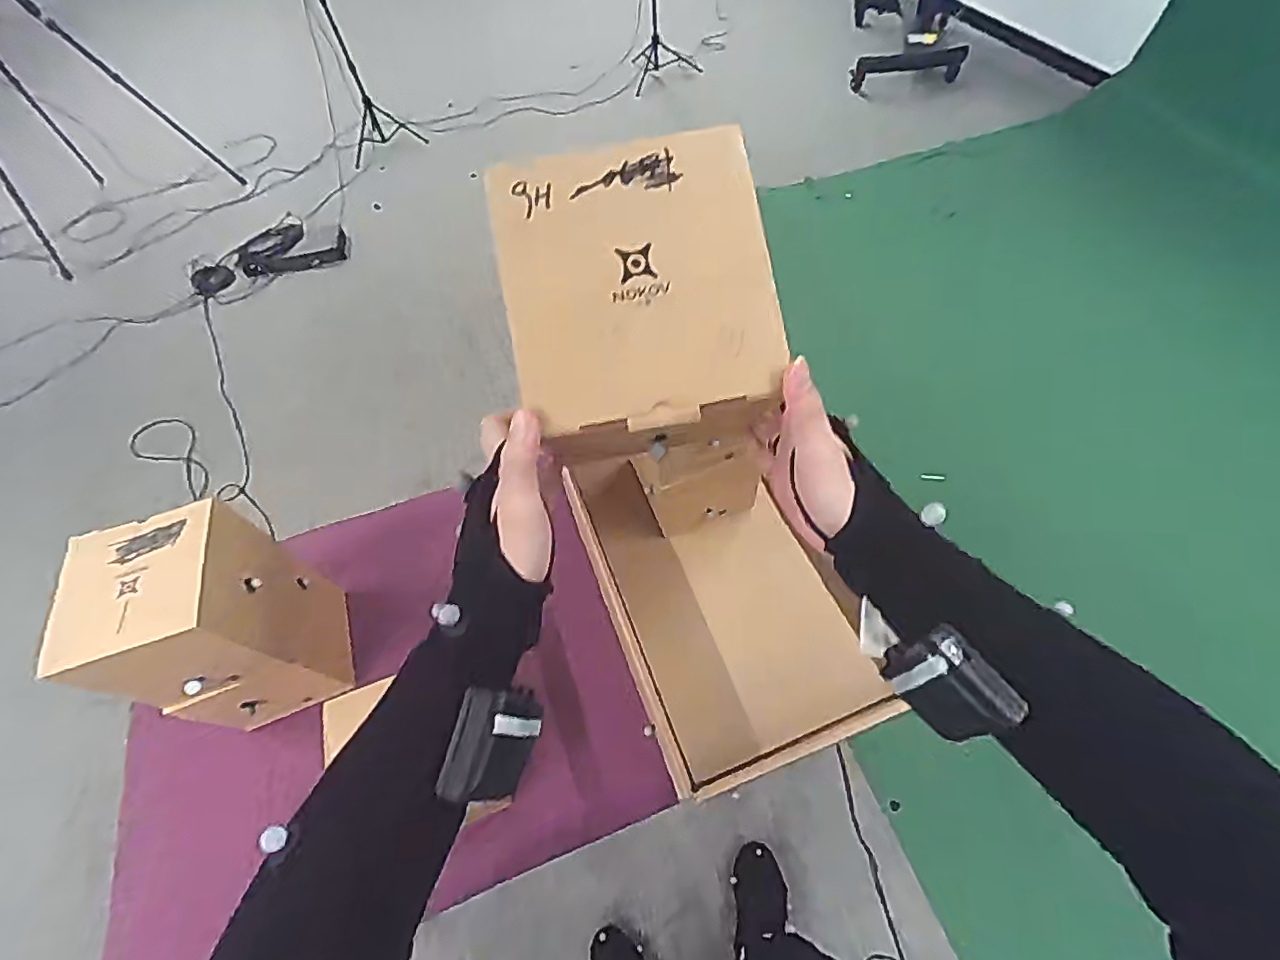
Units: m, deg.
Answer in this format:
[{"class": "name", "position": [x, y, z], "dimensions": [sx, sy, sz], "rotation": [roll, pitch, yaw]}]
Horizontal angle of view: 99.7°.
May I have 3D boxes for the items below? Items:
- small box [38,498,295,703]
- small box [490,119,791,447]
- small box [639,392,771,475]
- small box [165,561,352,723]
[{"class": "small box", "position": [-0.565, 0.155, 0.678], "dimensions": [0.168, 0.176, 0.179], "rotation": [-18, 58, -6]}, {"class": "small box", "position": [-0.001, -0.125, 0.415], "dimensions": [0.168, 0.176, 0.179], "rotation": [-10, 86, -2]}, {"class": "small box", "position": [0.070, -0.126, 0.739], "dimensions": [0.168, 0.176, 0.179], "rotation": [-18, 59, -6]}, {"class": "small box", "position": [-0.559, 0.248, 0.814], "dimensions": [0.168, 0.176, 0.179], "rotation": [-21, 58, -9]}]
